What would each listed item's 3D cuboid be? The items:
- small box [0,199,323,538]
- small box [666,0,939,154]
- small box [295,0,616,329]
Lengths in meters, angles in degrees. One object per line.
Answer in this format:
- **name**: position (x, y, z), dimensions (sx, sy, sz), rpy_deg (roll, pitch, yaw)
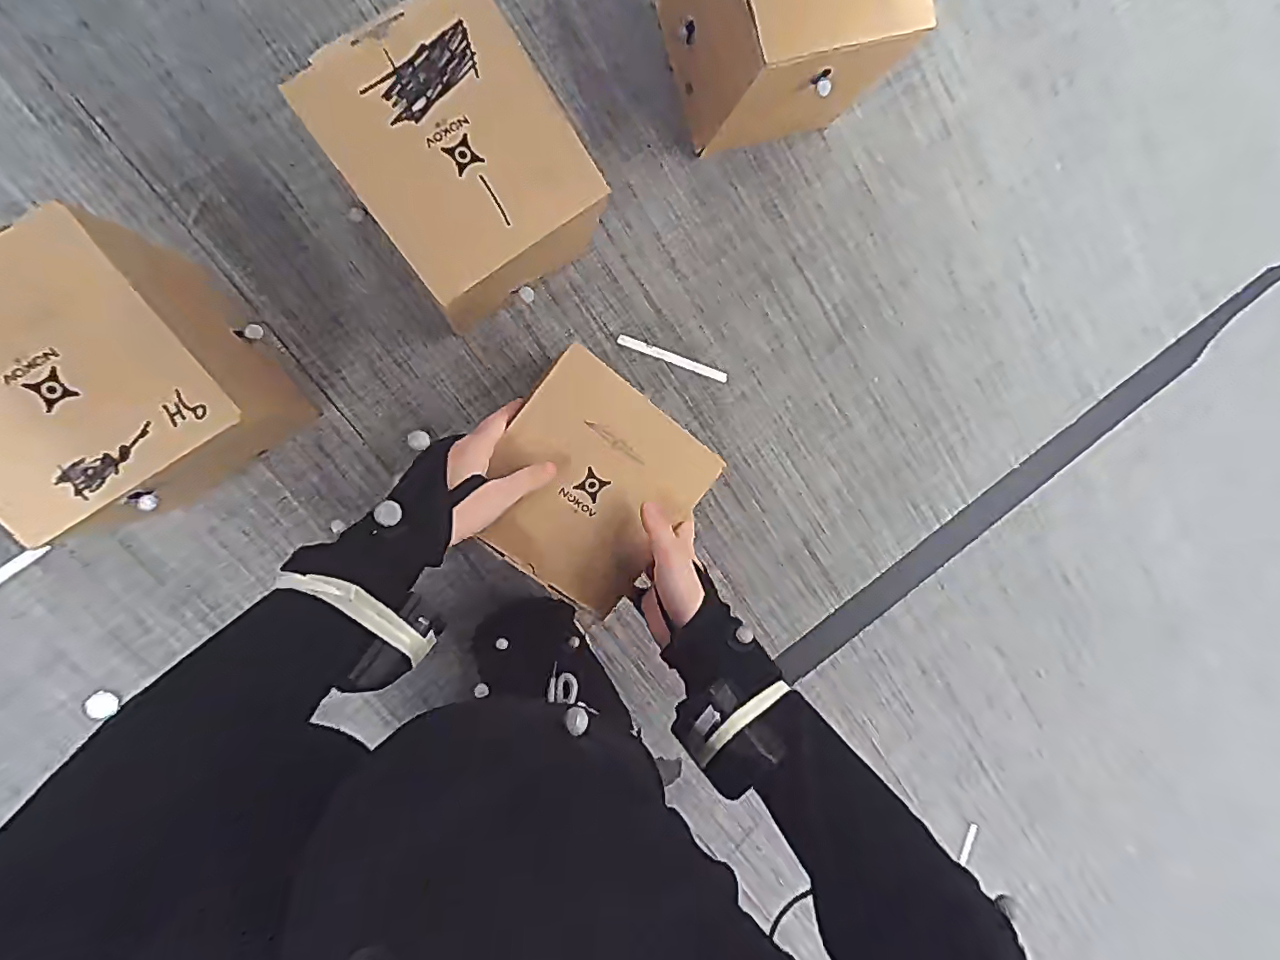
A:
- **small box**: position (-0.407, -0.079, 0.441), dimensions (0.168, 0.176, 0.179), rpy_deg (-34, 101, -8)
- **small box**: position (0.145, -0.455, 0.527), dimensions (0.179, 0.176, 0.168), rpy_deg (-19, 100, -9)
- **small box**: position (-0.149, -0.258, 0.480), dimensions (0.168, 0.176, 0.179), rpy_deg (-37, 104, -7)
